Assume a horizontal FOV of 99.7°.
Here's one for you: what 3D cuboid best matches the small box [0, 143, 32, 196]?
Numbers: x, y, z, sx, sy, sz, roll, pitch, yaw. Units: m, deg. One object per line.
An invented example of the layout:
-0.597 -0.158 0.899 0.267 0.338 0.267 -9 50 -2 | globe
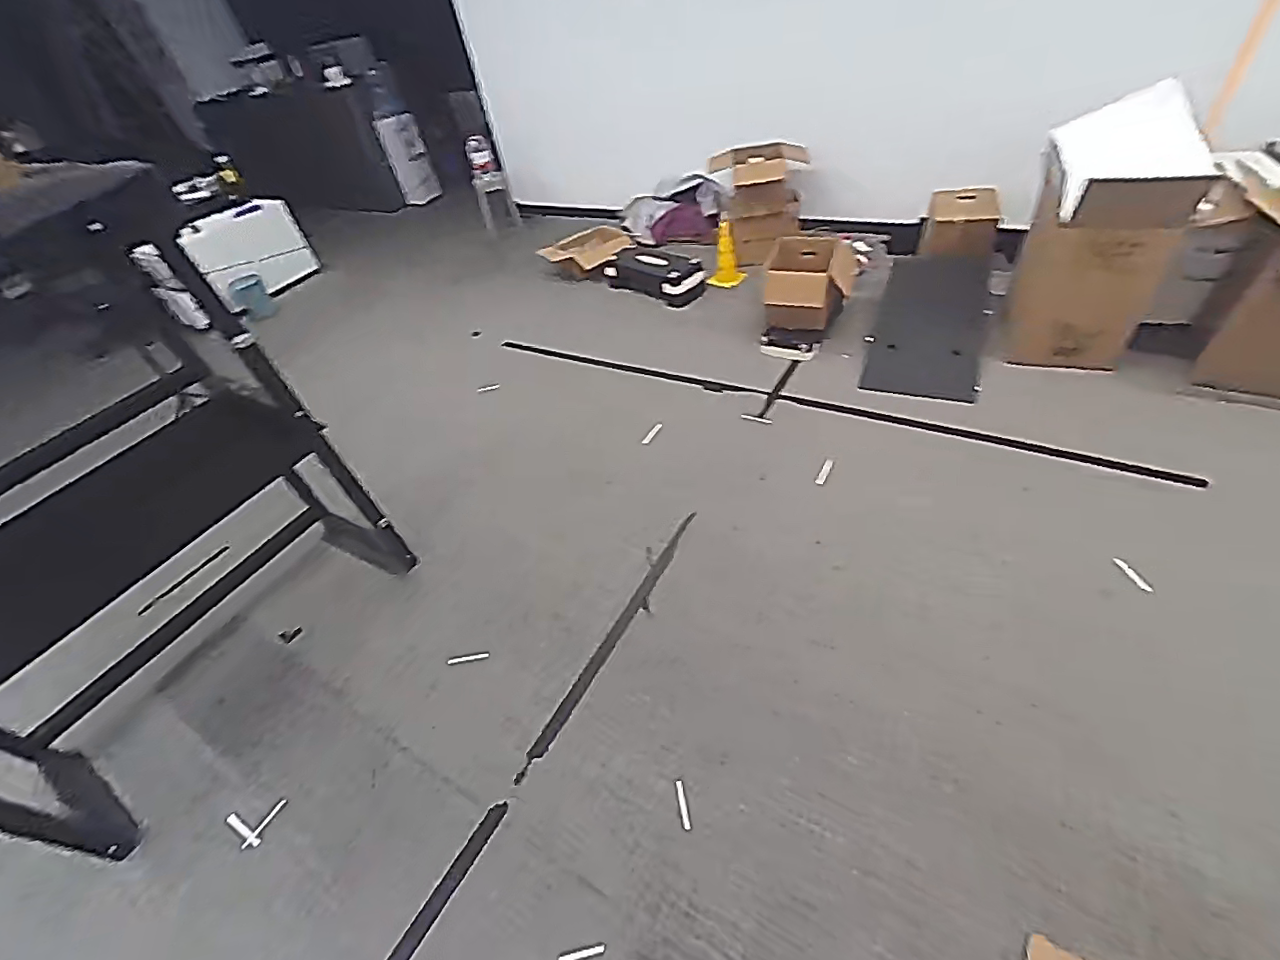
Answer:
-1.548 -0.734 1.218 0.179 0.176 0.168 25 55 29 | small box
